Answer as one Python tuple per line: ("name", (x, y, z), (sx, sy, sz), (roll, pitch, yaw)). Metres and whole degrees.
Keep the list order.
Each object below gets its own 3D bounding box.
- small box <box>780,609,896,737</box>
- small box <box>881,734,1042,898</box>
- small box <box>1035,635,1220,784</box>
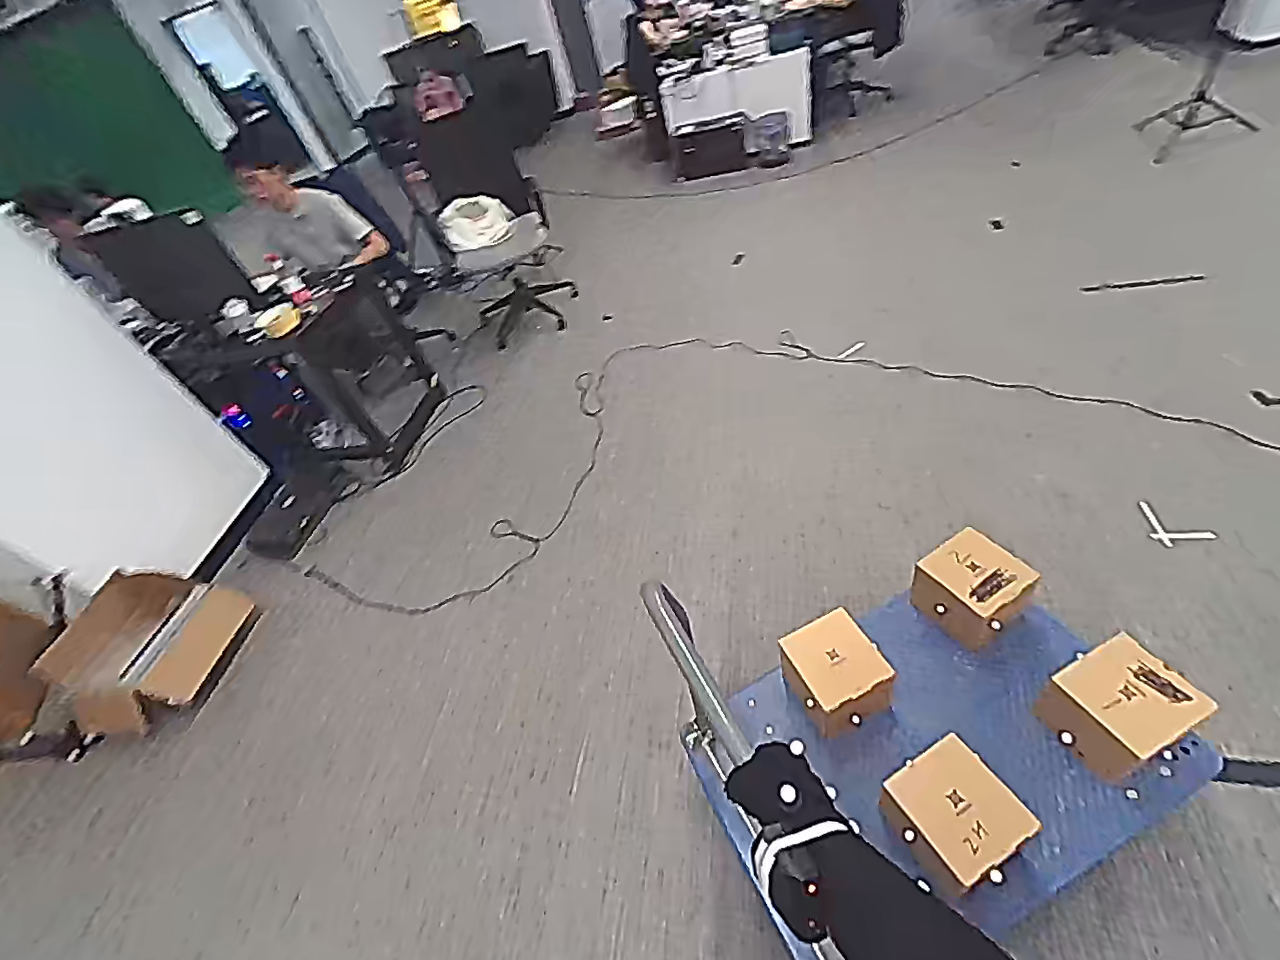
("small box", (0.425, 0.423, 1.182), (0.168, 0.176, 0.179), (-26, 46, -6))
("small box", (0.556, 0.600, 0.965), (0.168, 0.176, 0.179), (-29, 45, -9))
("small box", (0.889, 0.430, 1.010), (0.179, 0.176, 0.168), (-28, 45, -6))
